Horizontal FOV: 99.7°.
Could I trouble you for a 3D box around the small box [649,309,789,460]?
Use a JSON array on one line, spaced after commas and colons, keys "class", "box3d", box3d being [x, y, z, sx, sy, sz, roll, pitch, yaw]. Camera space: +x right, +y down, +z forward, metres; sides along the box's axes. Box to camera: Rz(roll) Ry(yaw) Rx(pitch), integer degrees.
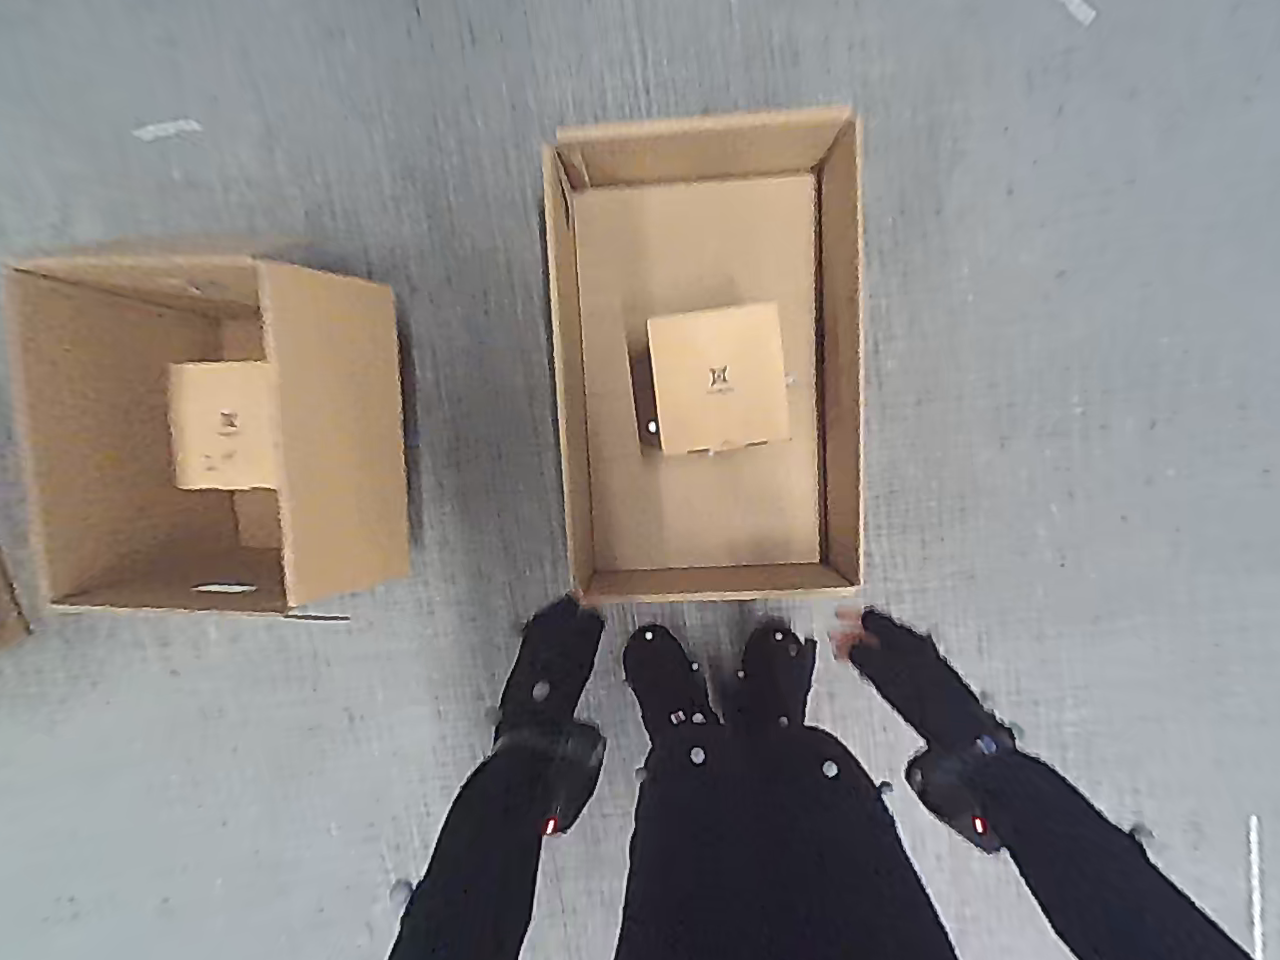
[{"class": "small box", "box3d": [0.103, -0.126, 0.765, 0.168, 0.176, 0.179, -7, 95, 4]}]
